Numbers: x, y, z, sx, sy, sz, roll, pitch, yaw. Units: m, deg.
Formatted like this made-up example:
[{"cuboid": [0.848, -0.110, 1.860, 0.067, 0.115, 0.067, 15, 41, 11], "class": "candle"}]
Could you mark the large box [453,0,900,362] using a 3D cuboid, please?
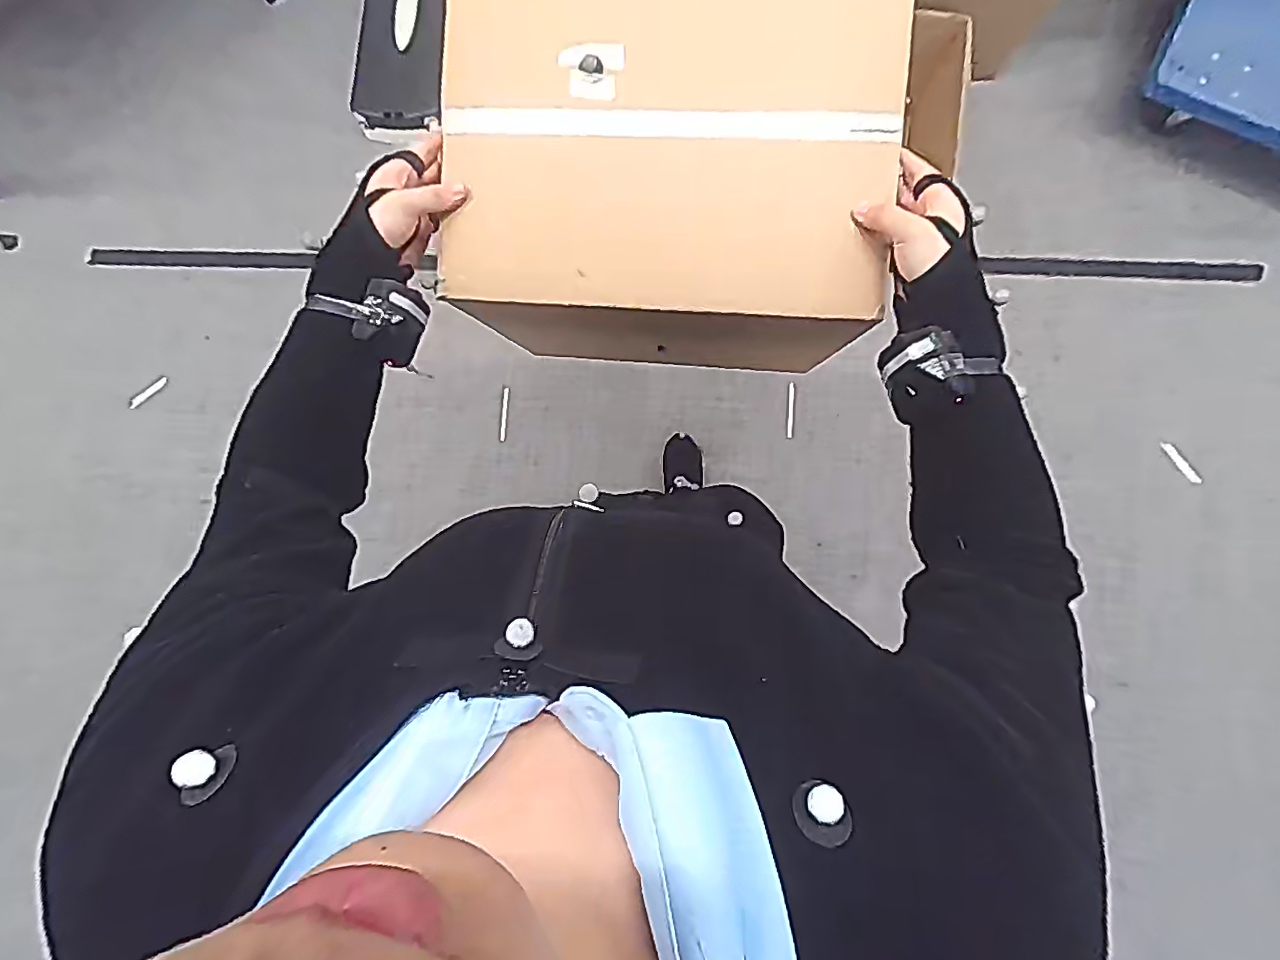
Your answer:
[{"cuboid": [0.040, -0.321, 0.640, 0.408, 0.320, 0.320, 4, 92, 5], "class": "large box"}]
